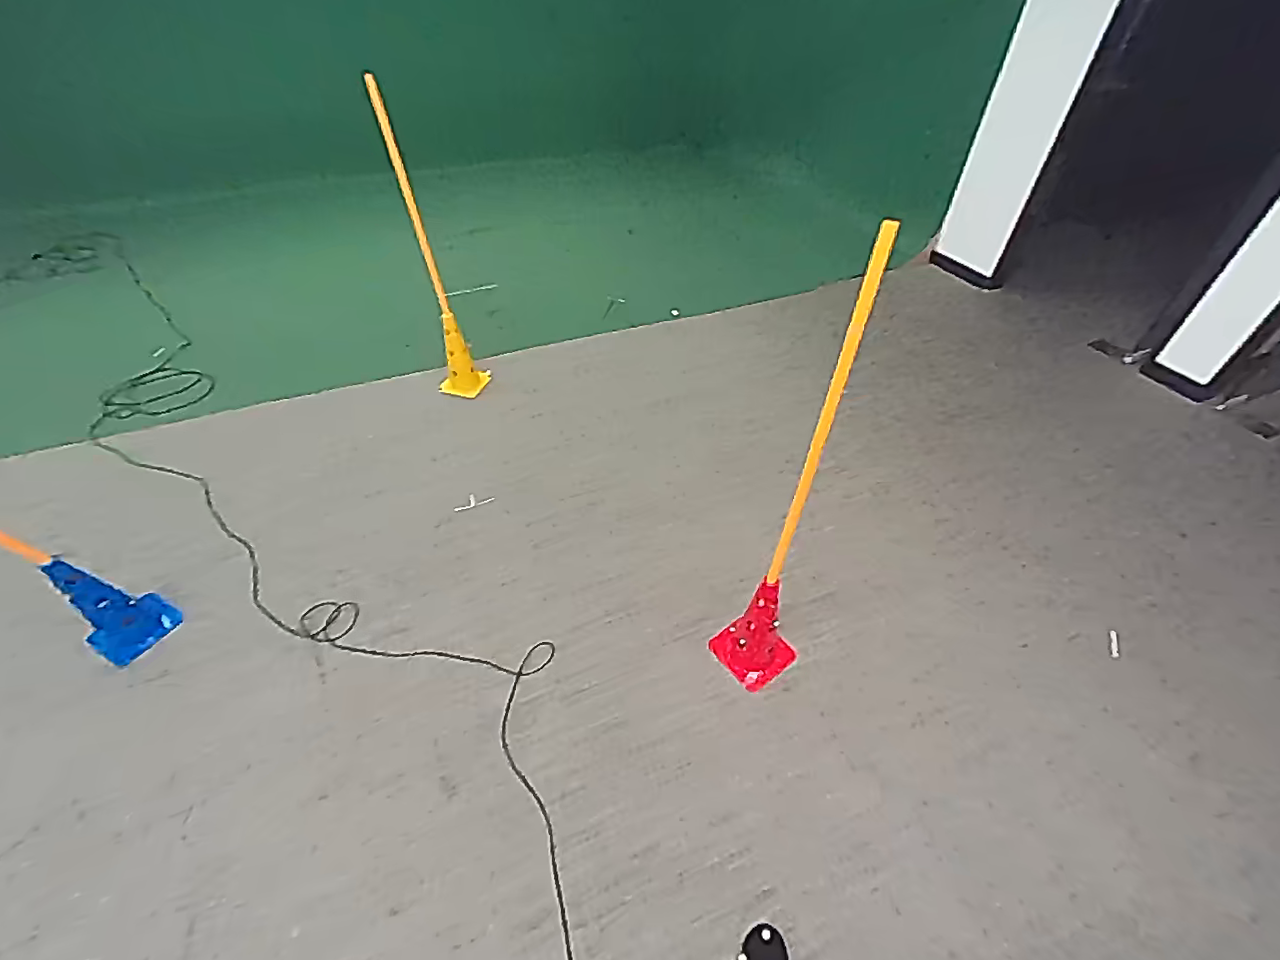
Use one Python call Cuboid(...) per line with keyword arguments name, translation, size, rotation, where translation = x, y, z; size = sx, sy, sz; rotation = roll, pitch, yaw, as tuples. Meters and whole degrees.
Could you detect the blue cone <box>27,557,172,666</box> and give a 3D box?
Cuboid(name="blue cone", translation=(-1.547, 0.344, 1.517), size=(0.192, 0.380, 0.193), rotation=(20, 50, 18))
